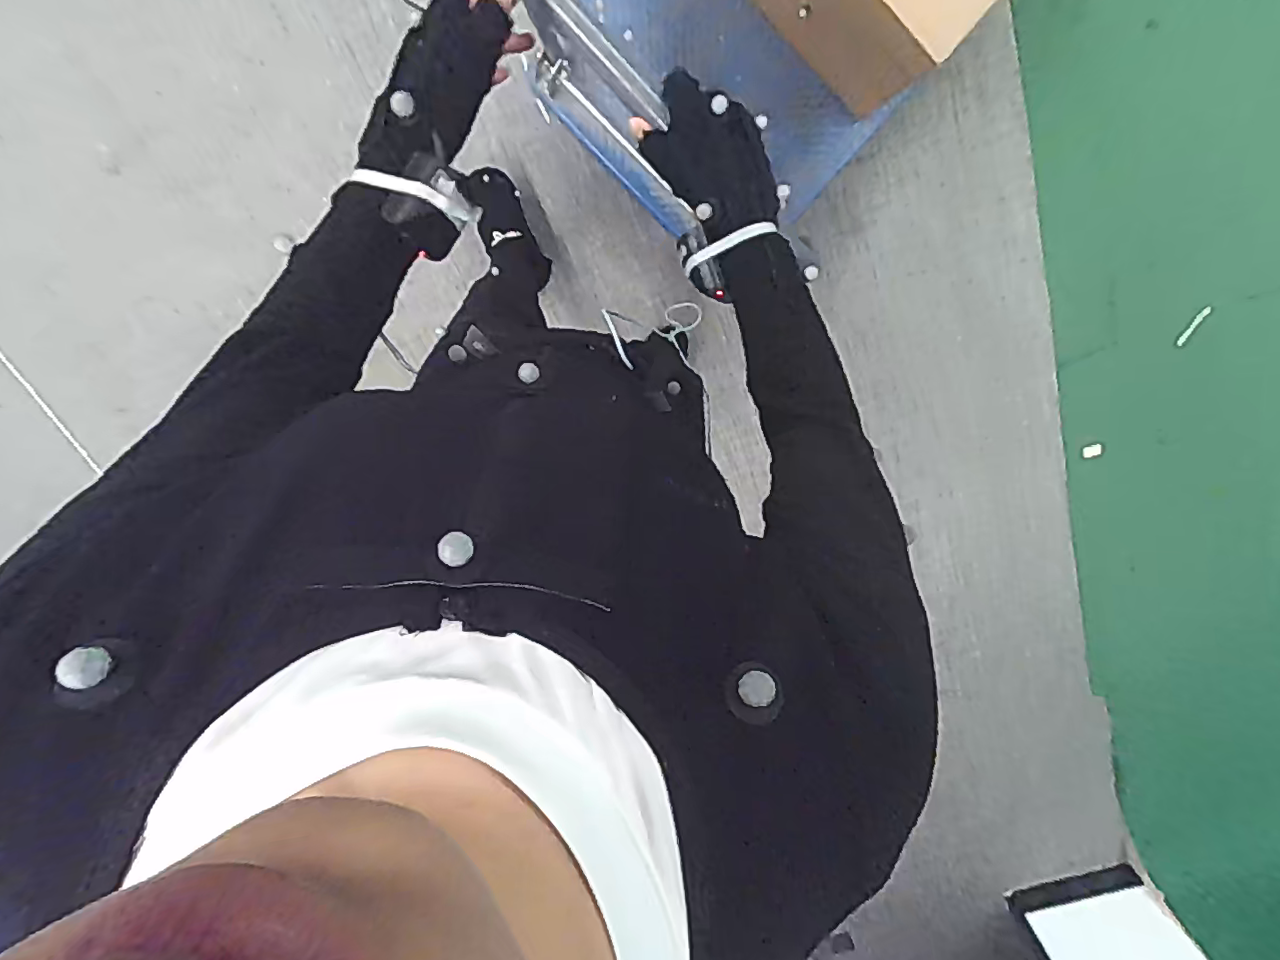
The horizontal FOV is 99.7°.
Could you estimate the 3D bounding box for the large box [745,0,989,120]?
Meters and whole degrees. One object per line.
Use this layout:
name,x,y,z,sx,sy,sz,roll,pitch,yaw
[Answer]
large box,0.364,-0.866,0.830,0.408,0.320,0.320,39,106,-12
